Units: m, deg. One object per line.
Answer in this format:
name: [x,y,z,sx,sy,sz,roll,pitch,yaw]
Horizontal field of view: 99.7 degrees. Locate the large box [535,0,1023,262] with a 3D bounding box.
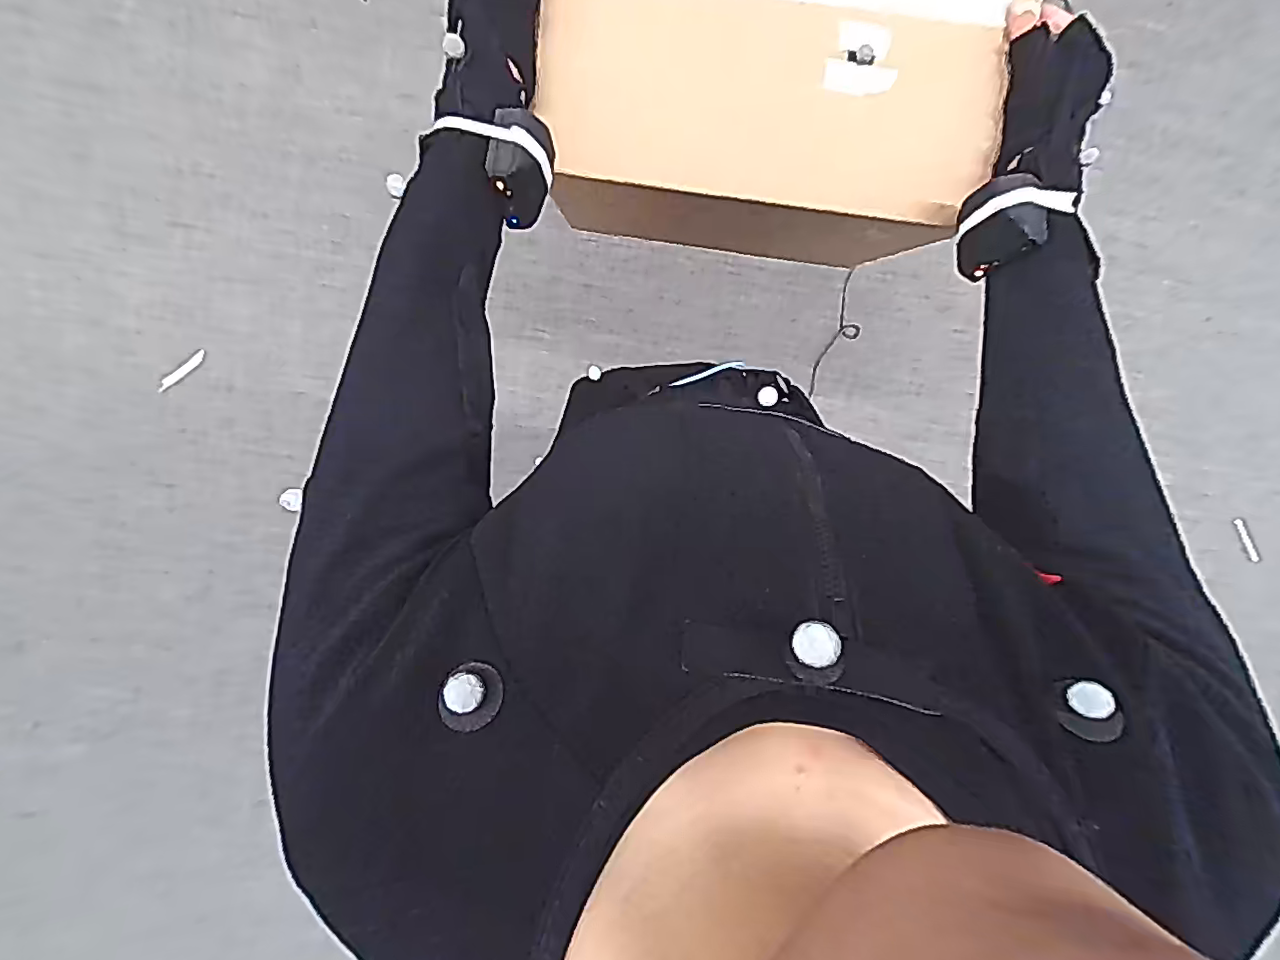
large box: [0.115,-0.439,0.588,0.408,0.320,0.320,7,106,-3]
